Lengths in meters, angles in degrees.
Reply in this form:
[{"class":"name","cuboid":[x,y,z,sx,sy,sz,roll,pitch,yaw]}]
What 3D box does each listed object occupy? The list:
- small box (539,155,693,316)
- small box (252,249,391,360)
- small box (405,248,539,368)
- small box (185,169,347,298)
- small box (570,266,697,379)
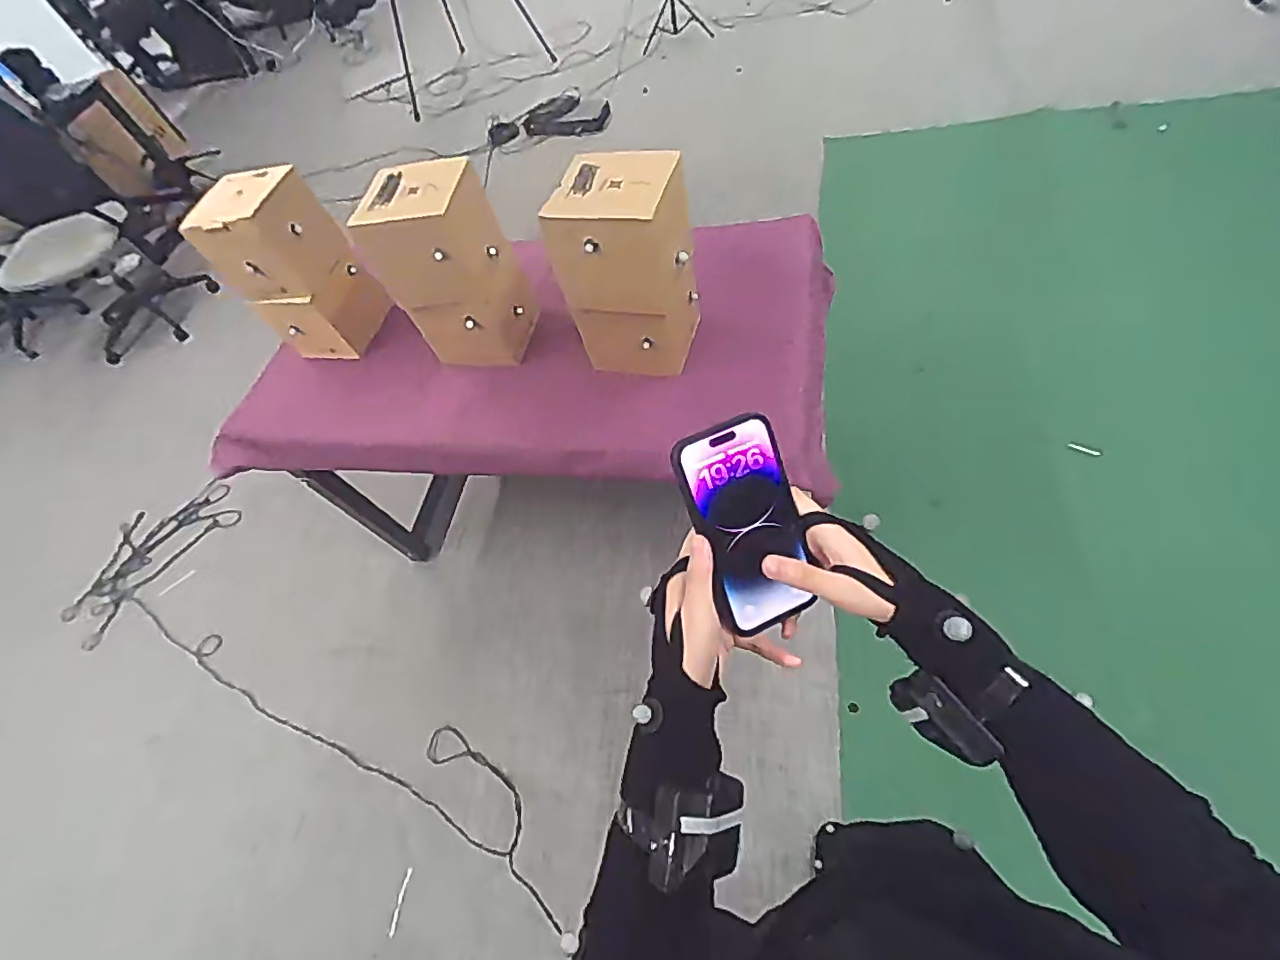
[{"class":"small box","cuboid":[-0.026,-0.378,0.848,0.179,0.176,0.168,10,61,18]},{"class":"small box","cuboid":[-0.696,-0.385,1.206,0.168,0.176,0.179,5,59,16]},{"class":"small box","cuboid":[-0.325,-0.341,1.090,0.179,0.176,0.168,4,59,16]},{"class":"small box","cuboid":[-0.726,-0.479,1.074,0.168,0.176,0.179,0,59,13]},{"class":"small box","cuboid":[0.000,-0.305,0.993,0.179,0.176,0.168,10,61,19]}]
